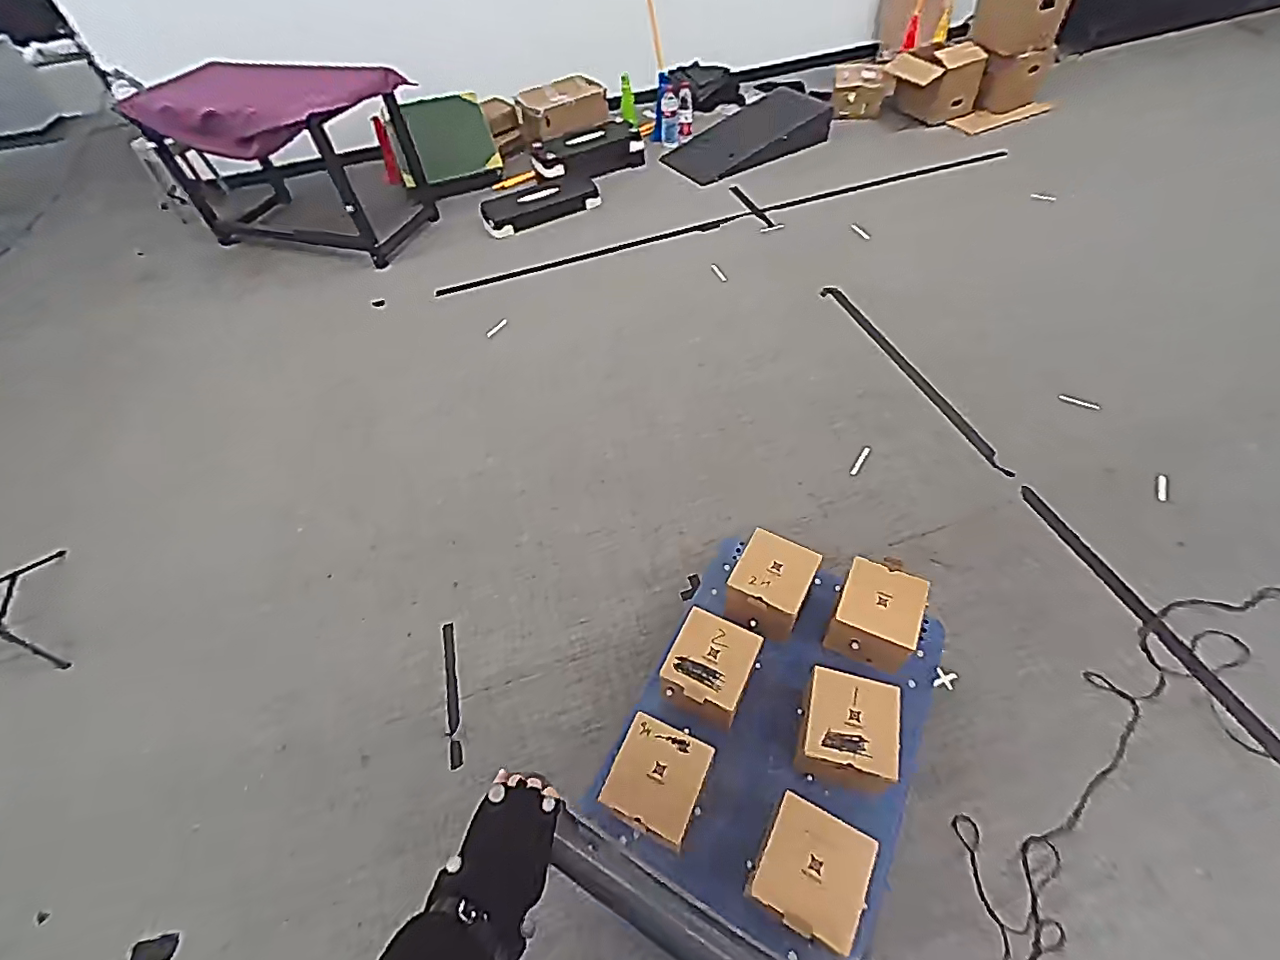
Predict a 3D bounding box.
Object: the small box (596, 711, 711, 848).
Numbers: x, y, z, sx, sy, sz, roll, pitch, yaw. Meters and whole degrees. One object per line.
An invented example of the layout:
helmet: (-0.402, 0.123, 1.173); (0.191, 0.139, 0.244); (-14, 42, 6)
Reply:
small box: (0.034, 0.598, 1.073); (0.168, 0.176, 0.179); (20, 56, 18)

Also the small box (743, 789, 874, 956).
small box: (0.294, 0.699, 0.971); (0.168, 0.176, 0.179); (23, 57, 21)

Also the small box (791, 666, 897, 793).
small box: (0.411, 0.513, 1.105); (0.168, 0.176, 0.179); (12, 54, 15)

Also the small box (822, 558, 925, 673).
small box: (0.532, 0.316, 1.250); (0.168, 0.176, 0.179); (20, 56, 19)

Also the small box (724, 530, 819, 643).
small box: (0.312, 0.259, 1.312); (0.168, 0.176, 0.179); (24, 58, 22)
